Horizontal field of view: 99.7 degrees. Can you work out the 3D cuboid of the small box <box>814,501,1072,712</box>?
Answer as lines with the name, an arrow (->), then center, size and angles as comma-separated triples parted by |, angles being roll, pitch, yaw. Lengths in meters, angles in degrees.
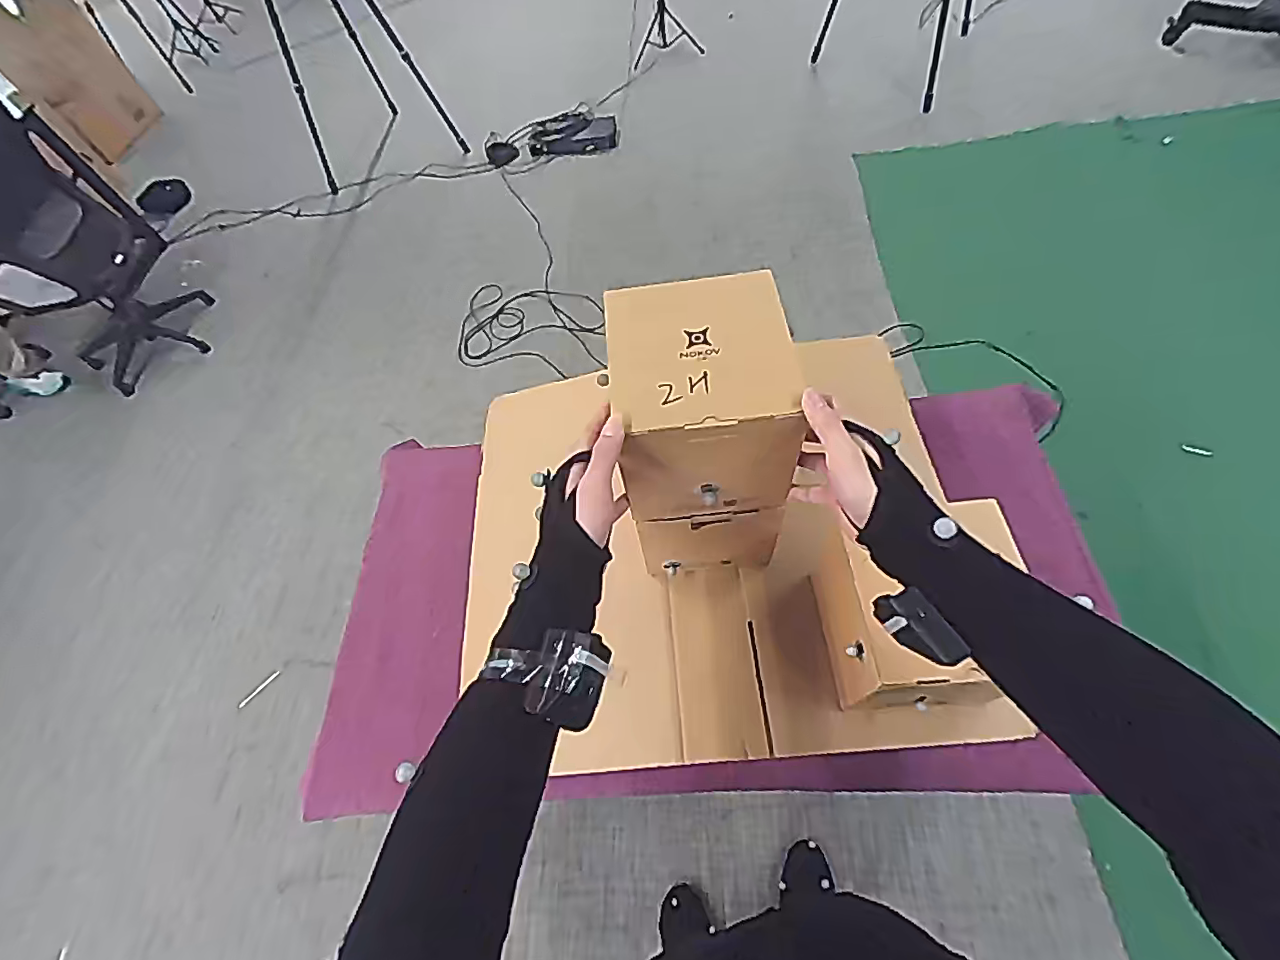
small box -> 0.298, 0.143, 0.585 | 0.168, 0.176, 0.179 | -6, 61, 4

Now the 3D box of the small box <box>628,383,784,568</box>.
small box -> 0.079, 0.004, 0.688 | 0.168, 0.176, 0.179 | -6, 59, 3
